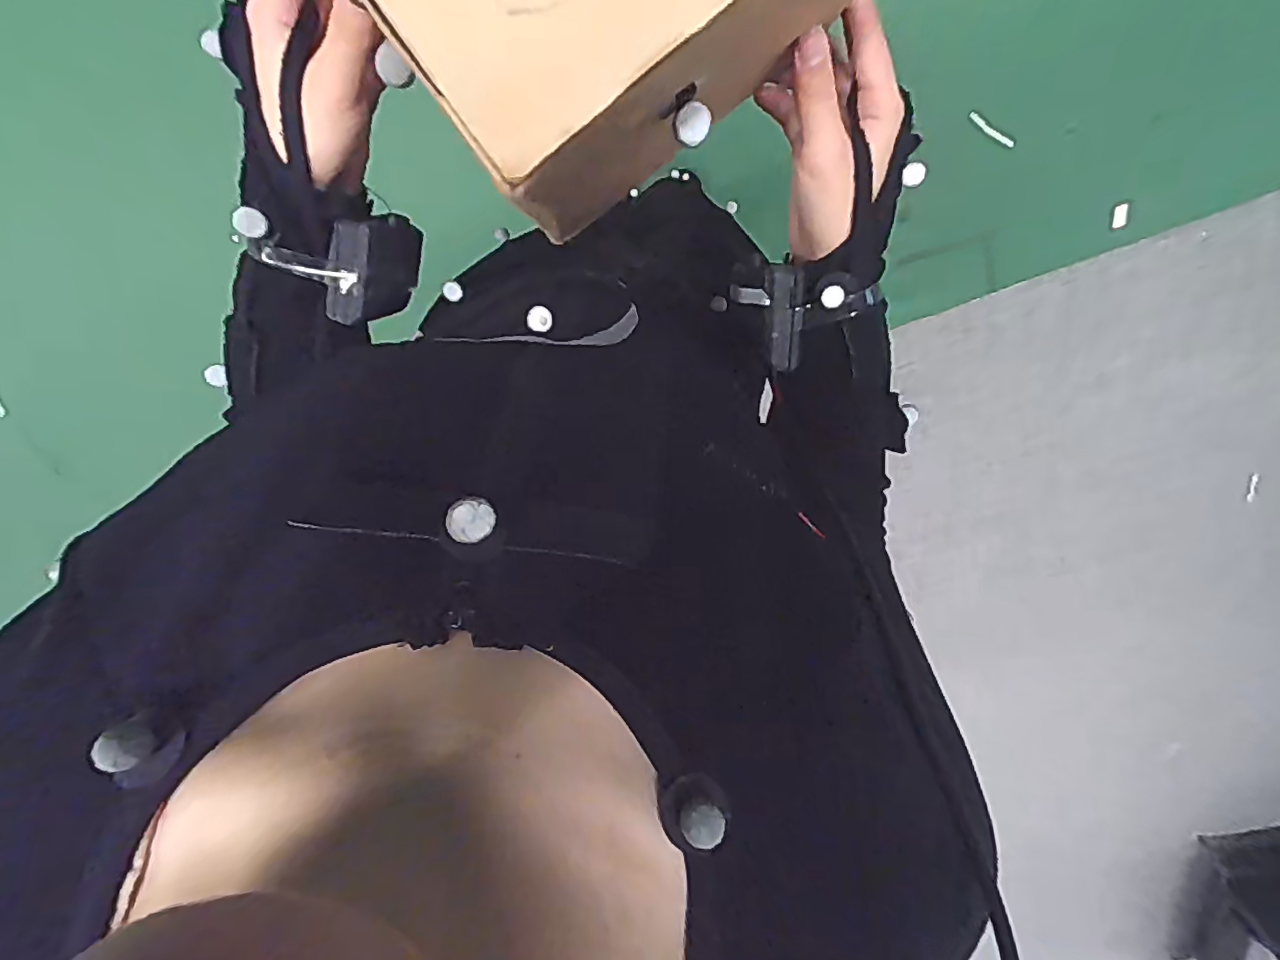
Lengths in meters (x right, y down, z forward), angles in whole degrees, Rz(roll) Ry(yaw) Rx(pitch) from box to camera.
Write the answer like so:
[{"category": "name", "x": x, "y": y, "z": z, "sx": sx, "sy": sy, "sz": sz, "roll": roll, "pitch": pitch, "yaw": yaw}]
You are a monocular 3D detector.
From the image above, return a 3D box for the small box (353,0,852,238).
[{"category": "small box", "x": -0.017, "y": -0.214, "z": 0.198, "sx": 0.179, "sy": 0.176, "sz": 0.168, "roll": -34, "pitch": 107, "yaw": 9}]
